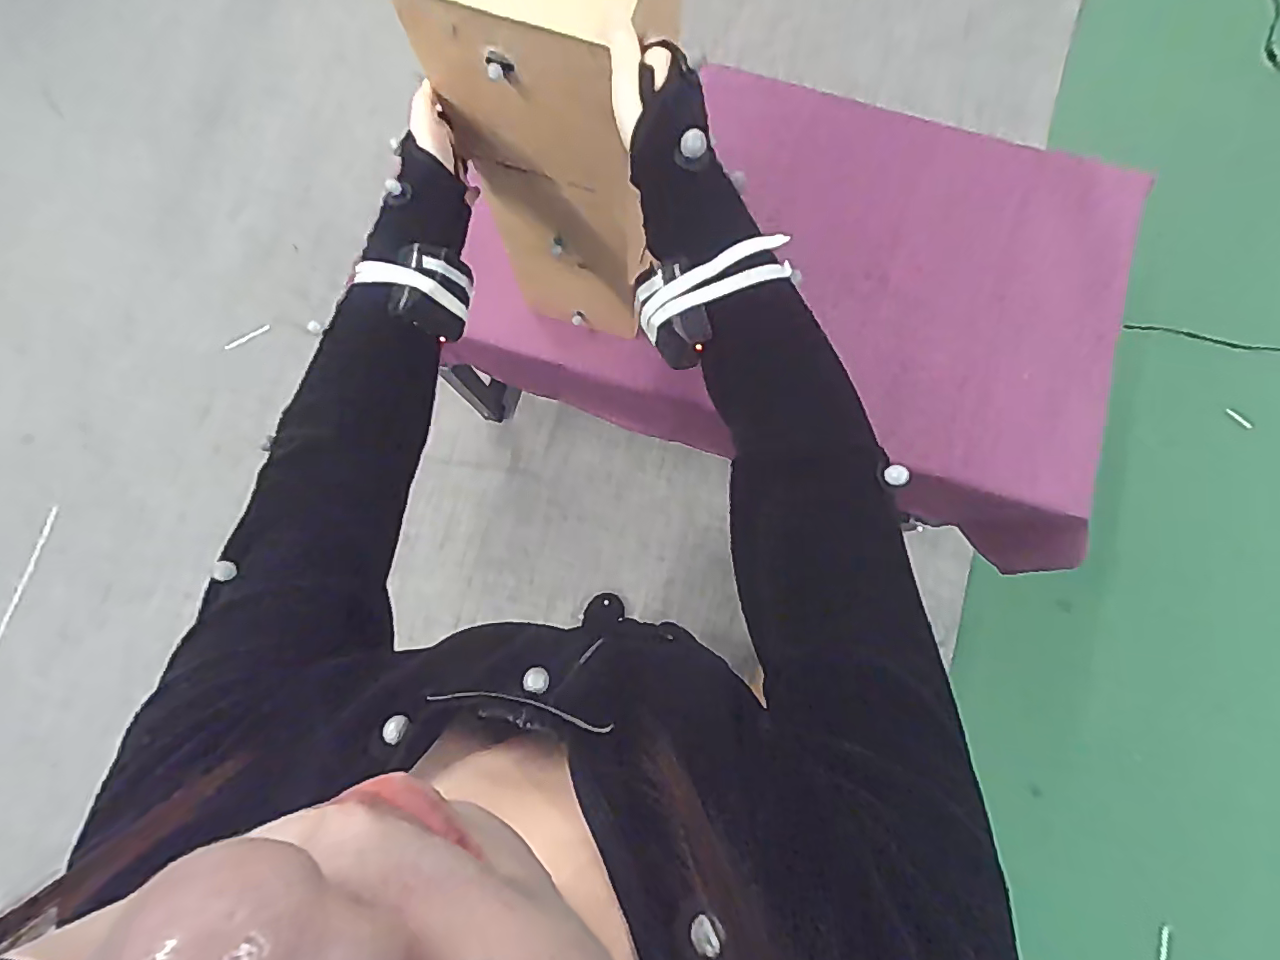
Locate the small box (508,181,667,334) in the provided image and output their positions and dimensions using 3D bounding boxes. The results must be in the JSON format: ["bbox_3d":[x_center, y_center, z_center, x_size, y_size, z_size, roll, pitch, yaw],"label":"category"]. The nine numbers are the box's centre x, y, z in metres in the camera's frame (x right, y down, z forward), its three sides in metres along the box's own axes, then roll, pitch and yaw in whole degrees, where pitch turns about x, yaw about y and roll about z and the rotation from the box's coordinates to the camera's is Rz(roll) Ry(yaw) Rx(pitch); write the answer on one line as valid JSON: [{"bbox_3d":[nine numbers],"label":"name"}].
[{"bbox_3d":[-0.070,-0.335,0.793,0.179,0.176,0.168,16,80,1],"label":"small box"}]

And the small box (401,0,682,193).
[{"bbox_3d":[-0.068,-0.380,0.456,0.179,0.176,0.168,18,85,1],"label":"small box"}]

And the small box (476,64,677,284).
[{"bbox_3d":[-0.065,-0.366,0.630,0.168,0.176,0.179,17,81,3],"label":"small box"}]
